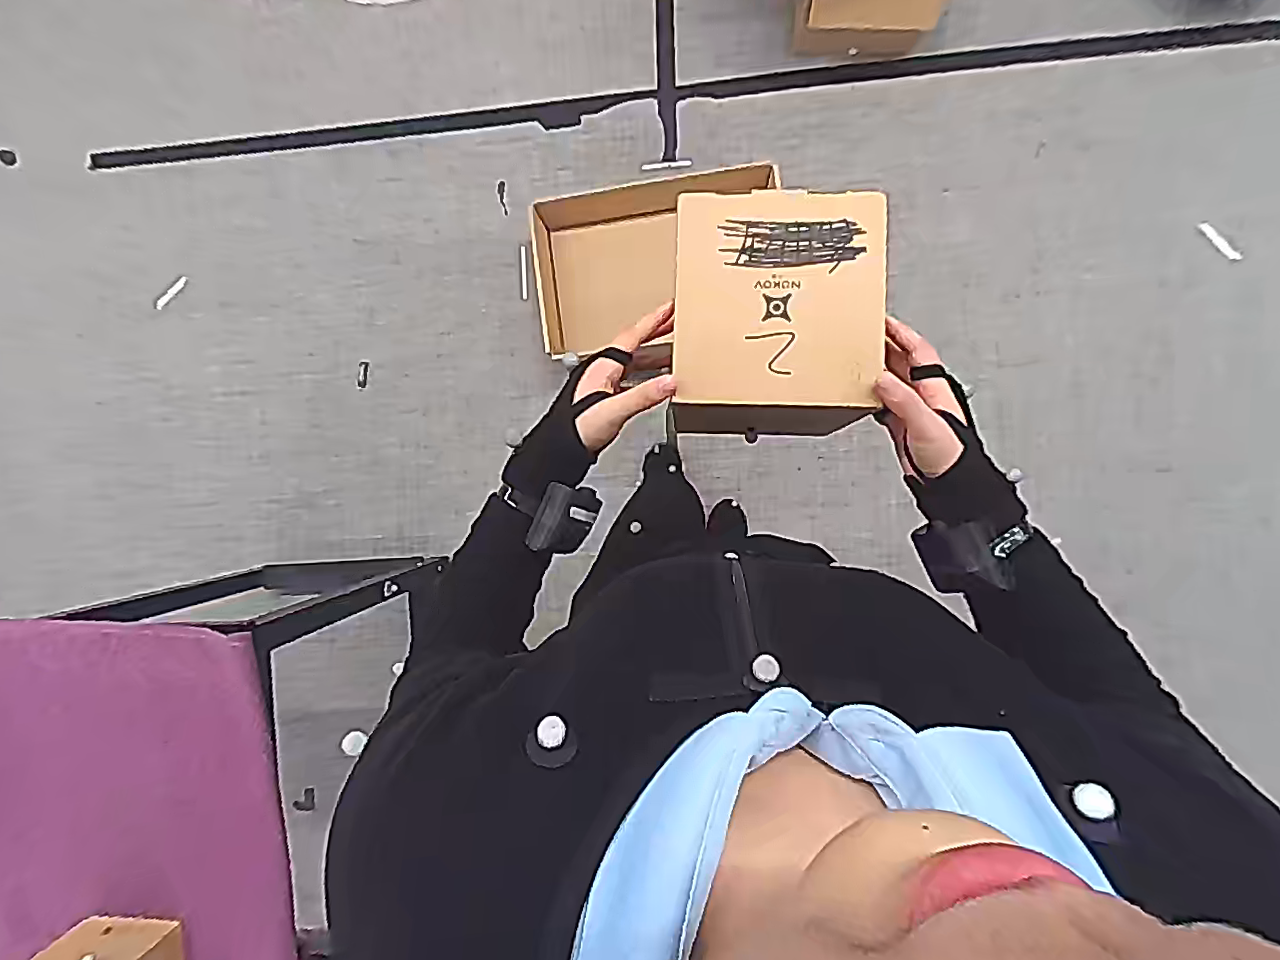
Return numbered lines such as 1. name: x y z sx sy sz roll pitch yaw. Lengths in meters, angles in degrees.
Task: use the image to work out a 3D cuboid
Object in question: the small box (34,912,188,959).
1. small box: -0.799 0.771 0.779 0.168 0.176 0.179 -2 91 5
